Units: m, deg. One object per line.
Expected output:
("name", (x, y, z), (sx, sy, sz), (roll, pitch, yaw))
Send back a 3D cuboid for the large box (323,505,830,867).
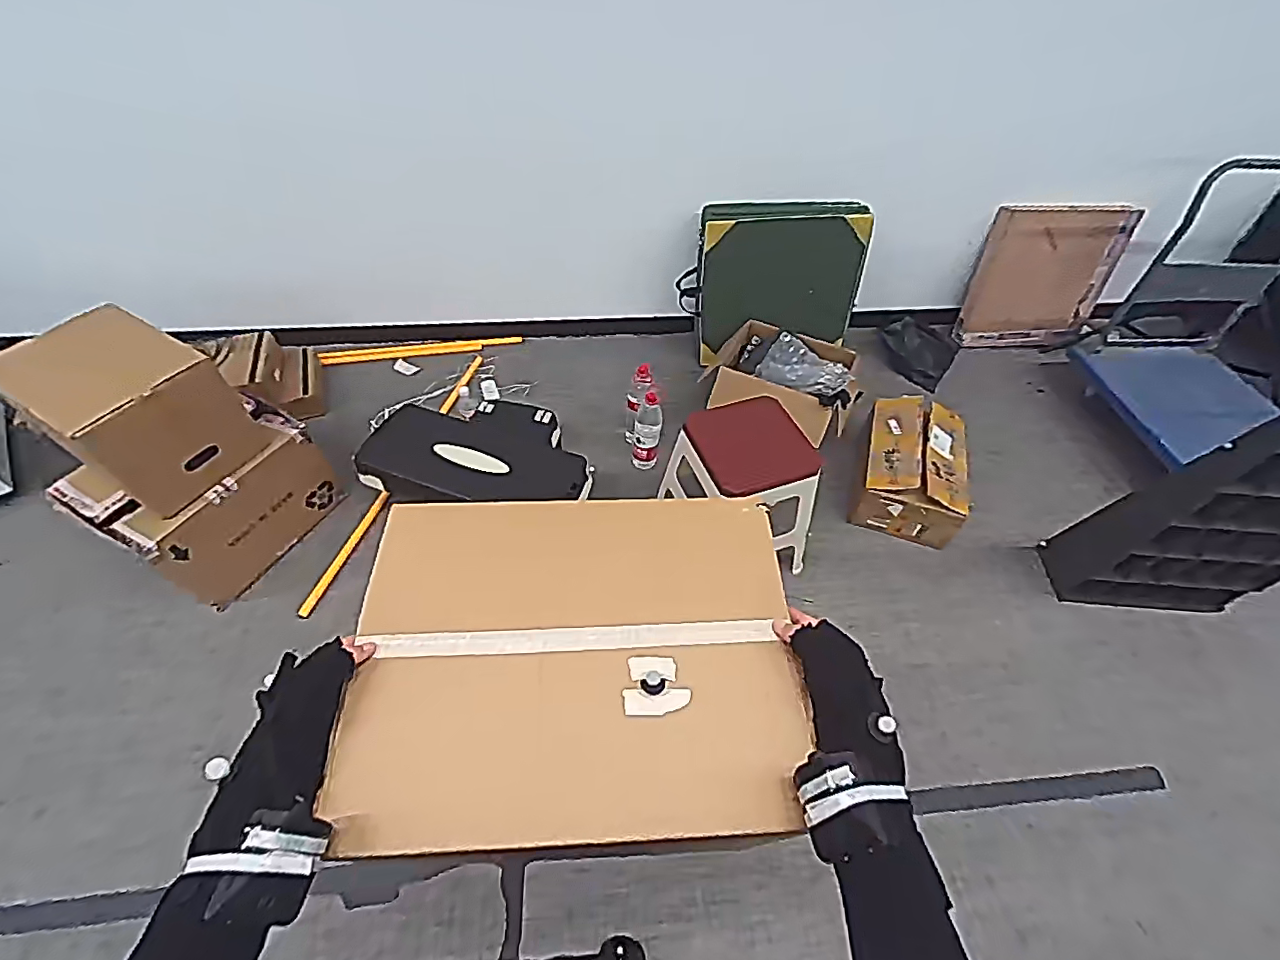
("large box", (-0.059, 0.242, 0.626), (0.408, 0.320, 0.320), (0, 54, -4))
